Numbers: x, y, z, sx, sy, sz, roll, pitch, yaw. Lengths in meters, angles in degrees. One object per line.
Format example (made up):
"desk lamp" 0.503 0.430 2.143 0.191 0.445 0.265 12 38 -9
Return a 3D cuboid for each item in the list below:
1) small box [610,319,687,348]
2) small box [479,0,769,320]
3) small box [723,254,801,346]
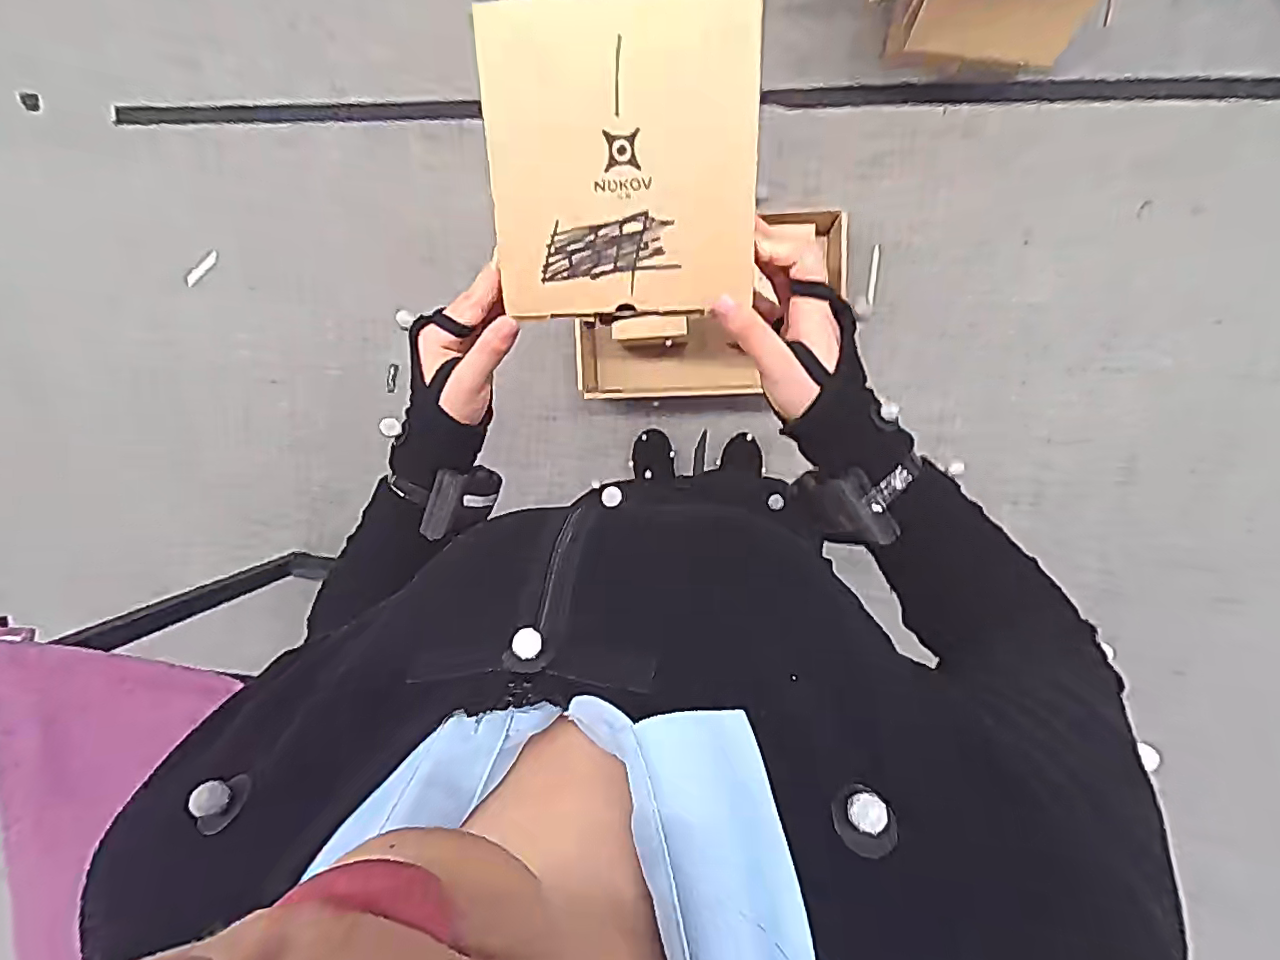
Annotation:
"small box" 0.023 -0.415 1.307 0.179 0.176 0.168 -2 97 6
"small box" -0.003 -0.213 0.400 0.168 0.176 0.179 1 108 5
"small box" 0.281 -0.418 1.277 0.168 0.176 0.179 0 98 8
